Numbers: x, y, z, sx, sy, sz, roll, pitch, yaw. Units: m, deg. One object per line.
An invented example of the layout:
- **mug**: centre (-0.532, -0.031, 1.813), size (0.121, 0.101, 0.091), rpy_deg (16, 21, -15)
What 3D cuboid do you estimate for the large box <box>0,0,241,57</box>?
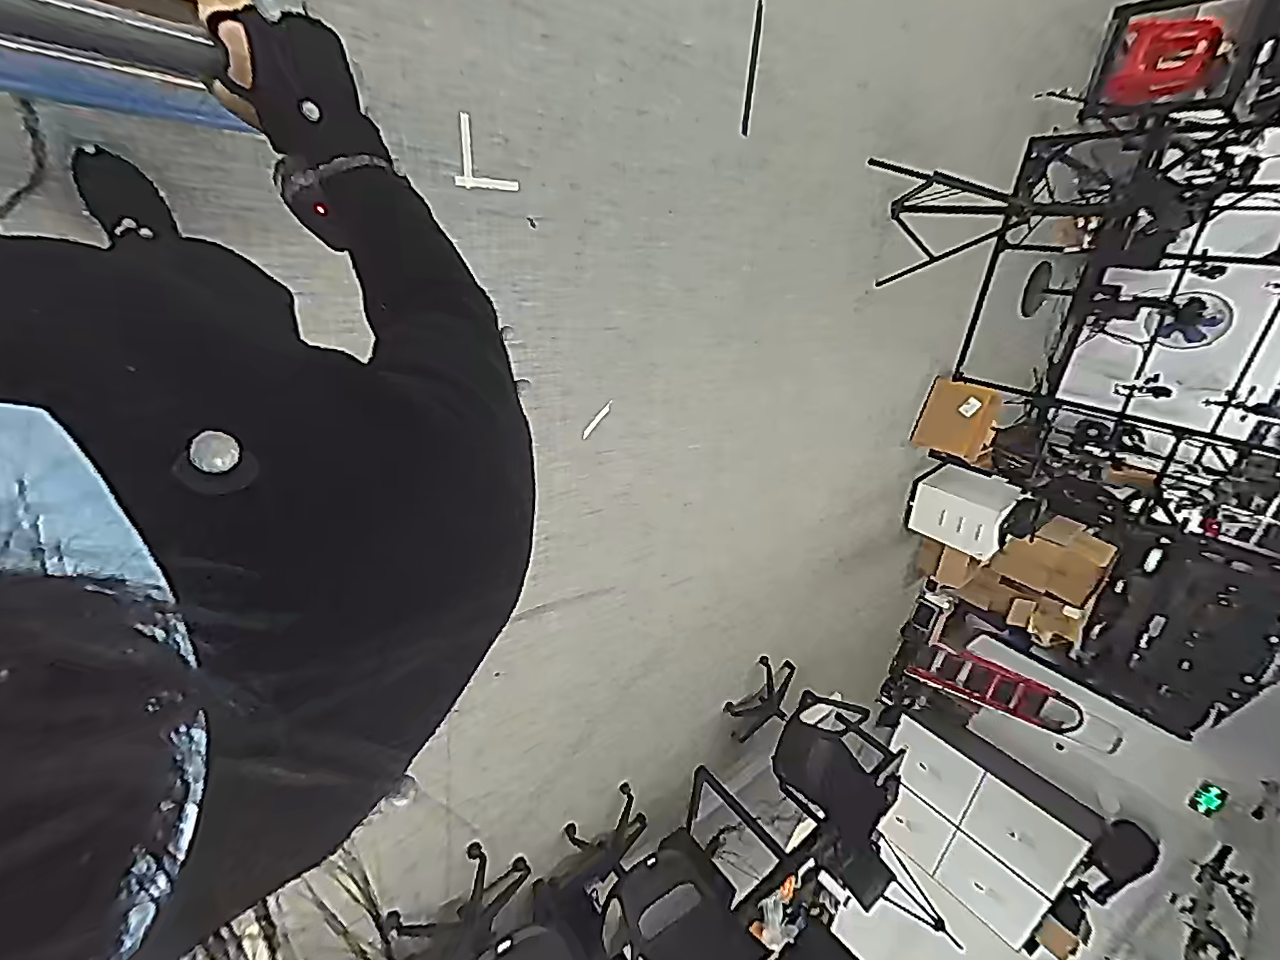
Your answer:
- **large box**: centre (-0.734, -0.738, 0.600), size (0.408, 0.320, 0.320), rpy_deg (-13, 120, -39)
